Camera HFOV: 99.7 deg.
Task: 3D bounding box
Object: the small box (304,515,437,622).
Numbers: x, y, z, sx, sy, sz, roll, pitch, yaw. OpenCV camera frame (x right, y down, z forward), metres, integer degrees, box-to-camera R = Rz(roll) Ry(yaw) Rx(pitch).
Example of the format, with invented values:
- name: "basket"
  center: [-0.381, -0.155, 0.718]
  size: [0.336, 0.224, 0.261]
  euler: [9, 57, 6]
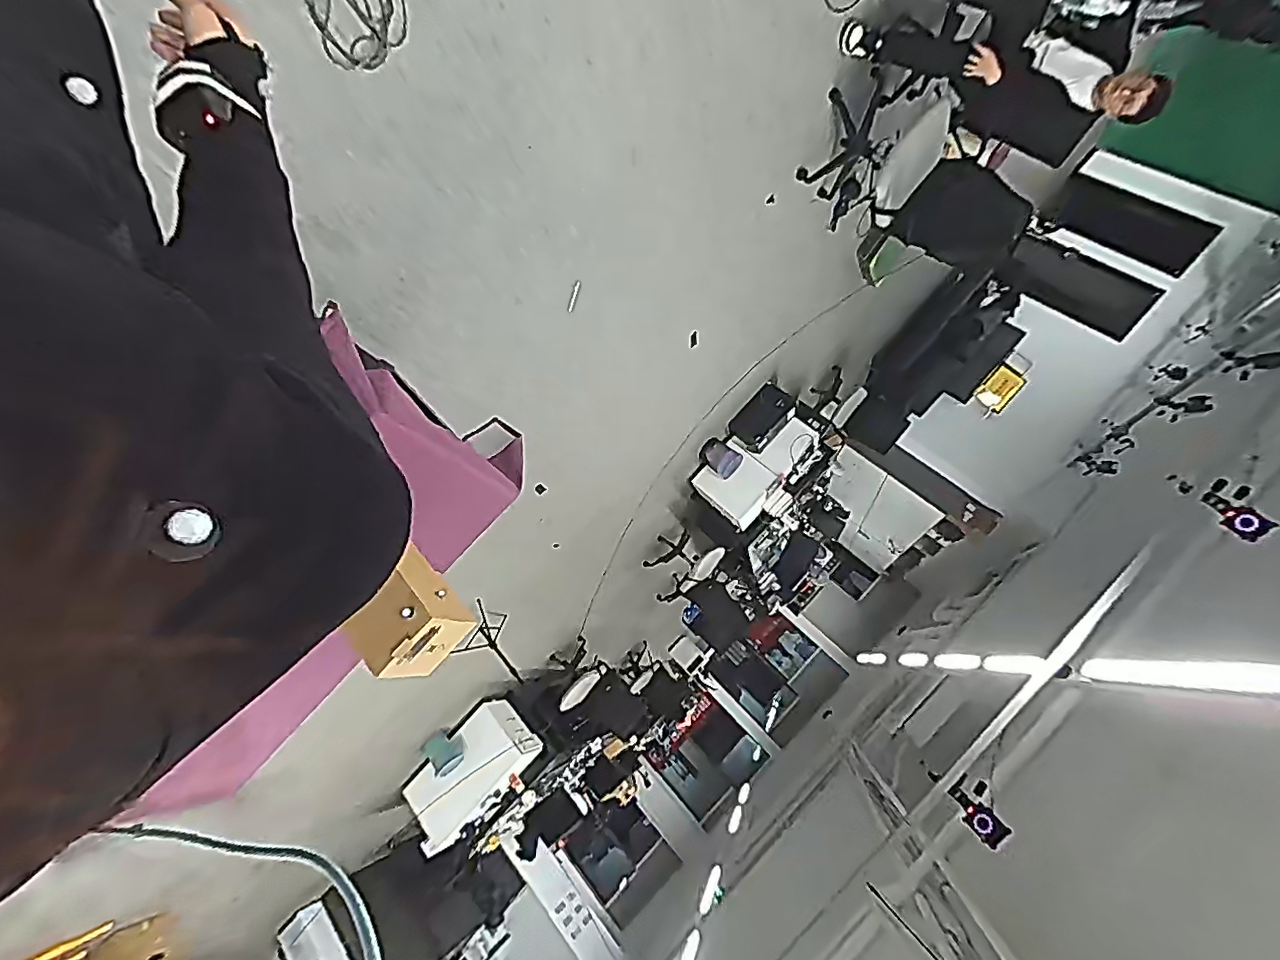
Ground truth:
- name: "small box"
  center: [-0.616, 0.203, 1.241]
  size: [0.168, 0.176, 0.179]
  euler: [-47, 157, -3]
